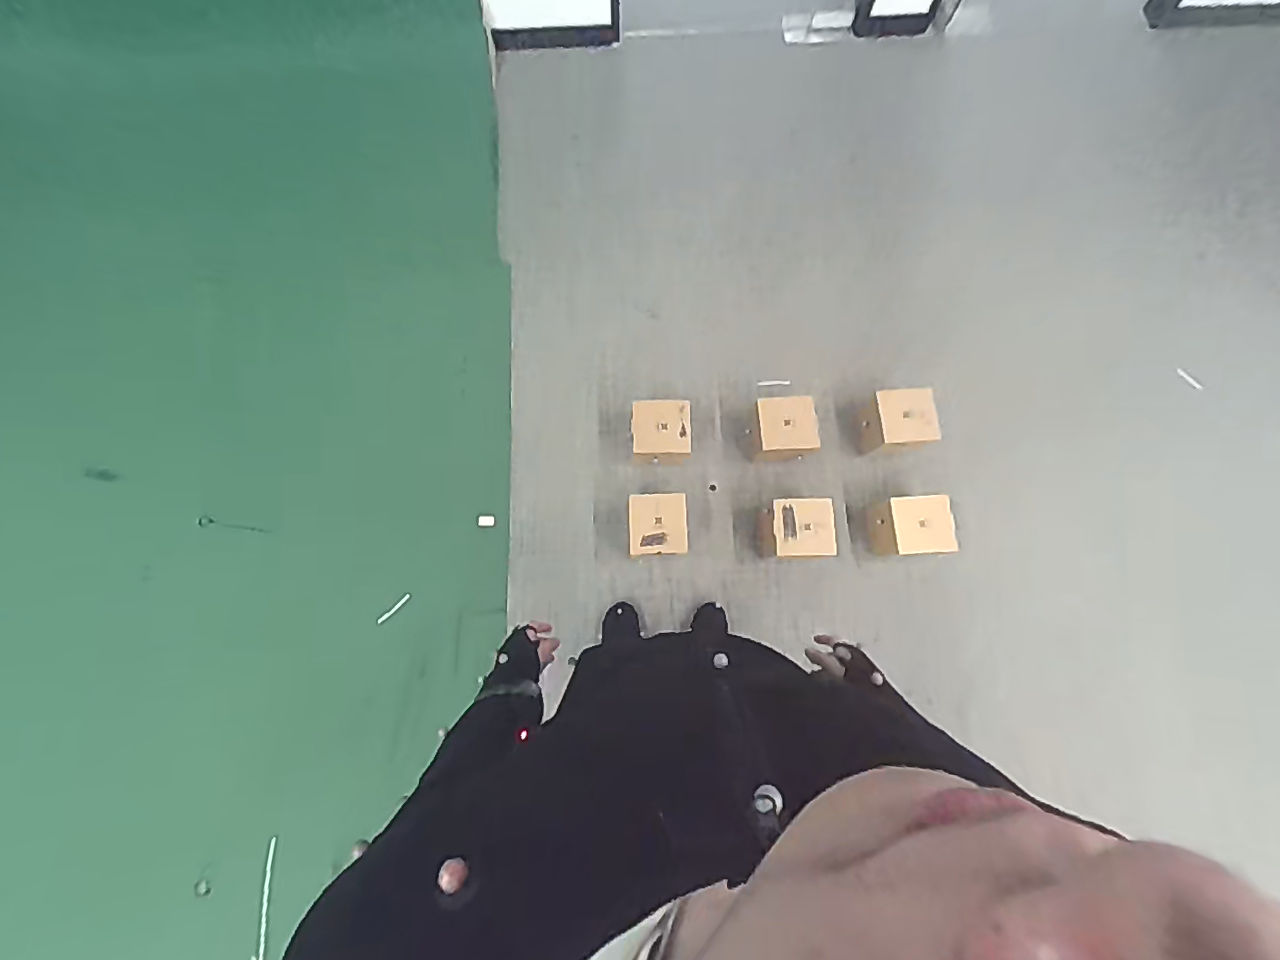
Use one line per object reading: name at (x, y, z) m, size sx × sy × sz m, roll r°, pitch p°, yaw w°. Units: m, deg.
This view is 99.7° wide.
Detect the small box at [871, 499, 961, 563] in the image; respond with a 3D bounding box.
small box at (0.809, 0.156, 1.609) m, size 0.179 × 0.176 × 0.168 m, roll -3°, pitch 77°, yaw -2°

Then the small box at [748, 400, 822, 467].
small box at (0.443, -0.141, 1.670) m, size 0.179 × 0.176 × 0.168 m, roll -2°, pitch 76°, yaw -1°

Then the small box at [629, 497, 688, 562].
small box at (0.051, 0.151, 1.596) m, size 0.168 × 0.176 × 0.179 m, roll -1°, pitch 76°, yaw -1°

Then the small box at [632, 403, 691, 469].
small box at (0.065, -0.131, 1.663) m, size 0.179 × 0.176 × 0.168 m, roll 0°, pitch 77°, yaw 0°

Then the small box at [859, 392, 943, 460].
small box at (0.800, -0.162, 1.679) m, size 0.179 × 0.176 × 0.168 m, roll -3°, pitch 78°, yaw -2°
